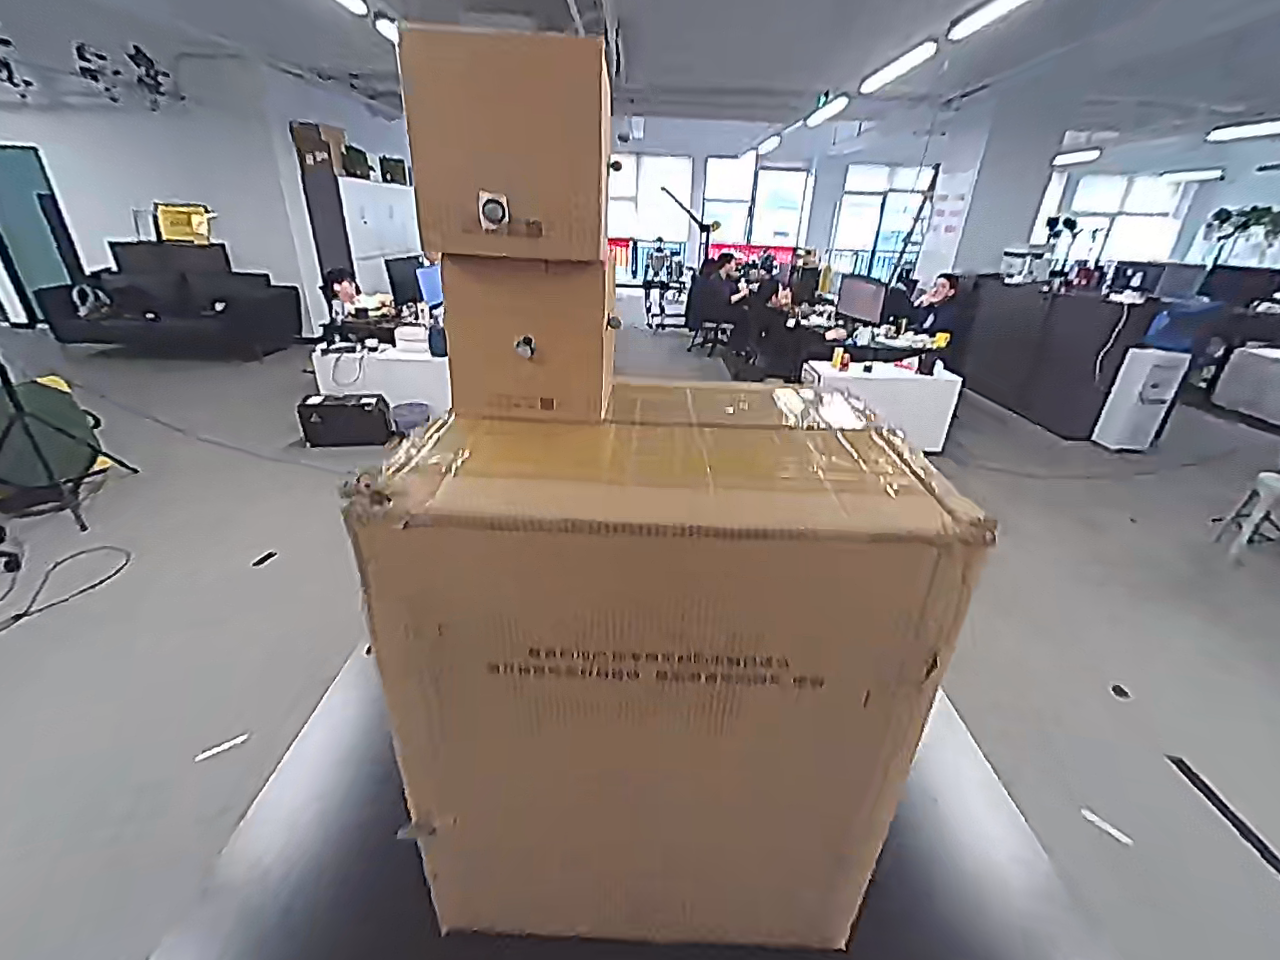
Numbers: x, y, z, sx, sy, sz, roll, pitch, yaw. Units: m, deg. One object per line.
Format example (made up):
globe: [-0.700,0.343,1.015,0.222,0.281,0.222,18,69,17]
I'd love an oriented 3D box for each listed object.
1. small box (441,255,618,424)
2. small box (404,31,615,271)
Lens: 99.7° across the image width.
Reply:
small box: [-0.113,-0.171,0.631,0.168,0.176,0.179,3,25,-1]
small box: [-0.110,-0.305,0.531,0.168,0.176,0.179,1,25,-3]
